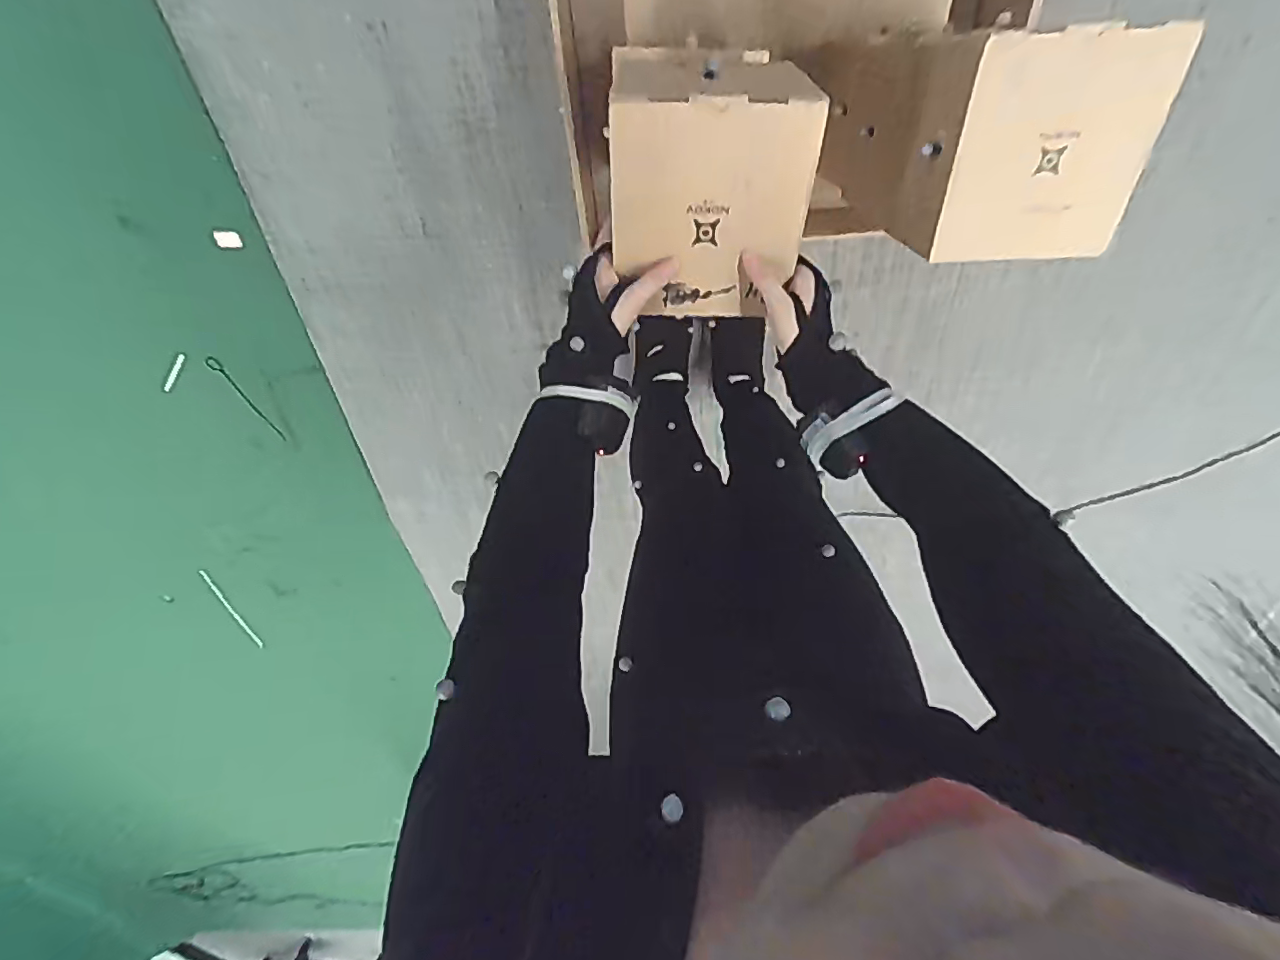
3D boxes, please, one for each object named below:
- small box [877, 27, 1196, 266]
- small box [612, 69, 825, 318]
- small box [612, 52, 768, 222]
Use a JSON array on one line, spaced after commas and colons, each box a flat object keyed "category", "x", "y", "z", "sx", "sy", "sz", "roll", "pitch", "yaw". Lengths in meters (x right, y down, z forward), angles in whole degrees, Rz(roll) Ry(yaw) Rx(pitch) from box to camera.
[{"category": "small box", "x": 0.356, "y": -0.325, "z": 0.536, "sx": 0.168, "sy": 0.176, "sz": 0.179, "roll": 0, "pitch": 127, "yaw": 3}, {"category": "small box", "x": 0.058, "y": -0.276, "z": 0.519, "sx": 0.168, "sy": 0.176, "sz": 0.179, "roll": 2, "pitch": 135, "yaw": 1}, {"category": "small box", "x": 0.052, "y": -0.418, "z": 0.675, "sx": 0.168, "sy": 0.176, "sz": 0.179, "roll": 2, "pitch": 126, "yaw": 0}]
